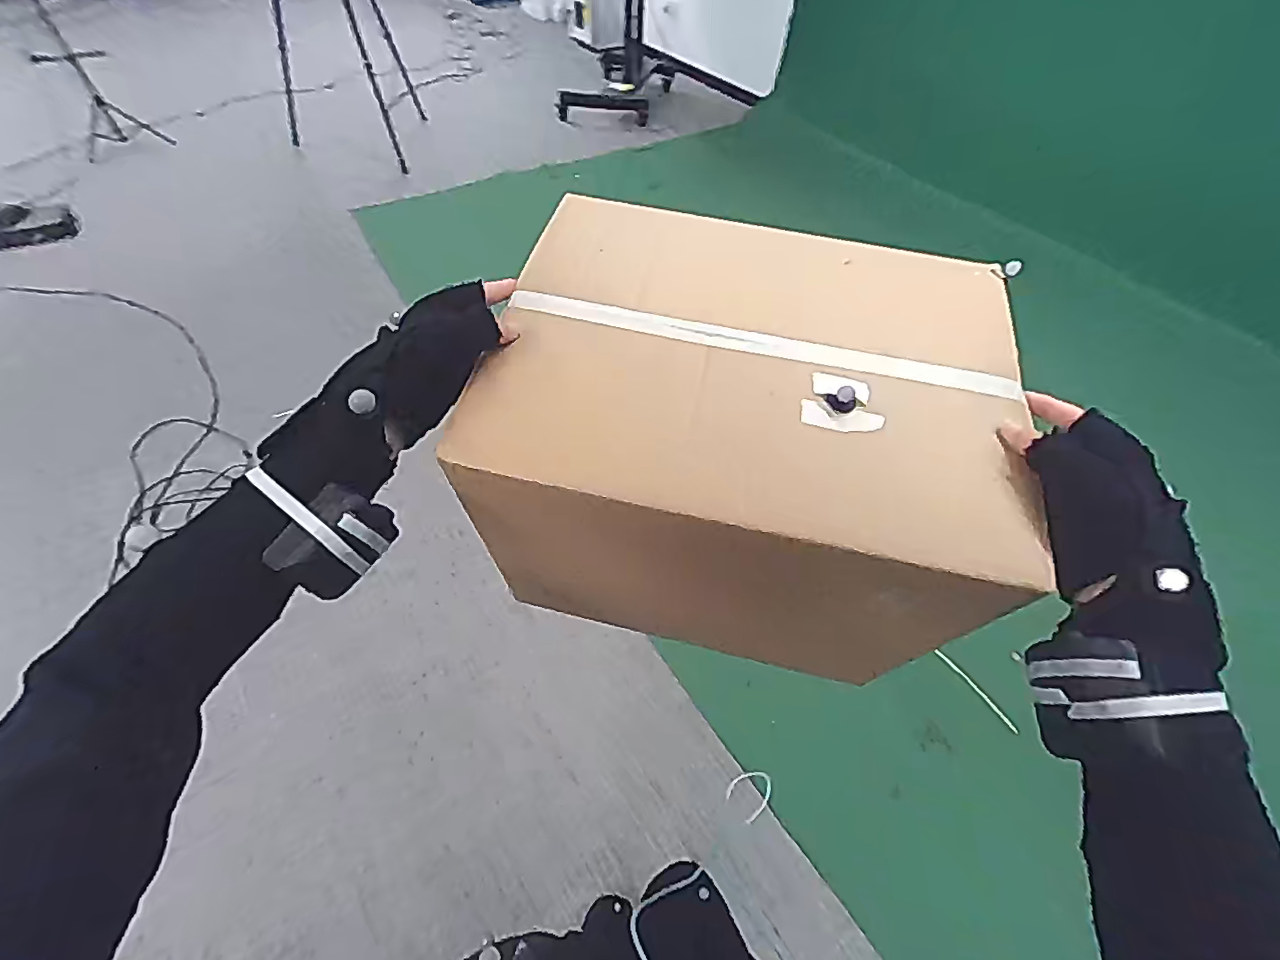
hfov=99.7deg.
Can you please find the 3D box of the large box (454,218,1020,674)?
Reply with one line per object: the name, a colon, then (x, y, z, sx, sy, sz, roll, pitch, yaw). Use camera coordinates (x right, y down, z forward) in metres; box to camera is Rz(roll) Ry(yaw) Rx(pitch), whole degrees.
large box: (0.081, -0.022, 0.573, 0.408, 0.320, 0.320, 12, 59, 4)
